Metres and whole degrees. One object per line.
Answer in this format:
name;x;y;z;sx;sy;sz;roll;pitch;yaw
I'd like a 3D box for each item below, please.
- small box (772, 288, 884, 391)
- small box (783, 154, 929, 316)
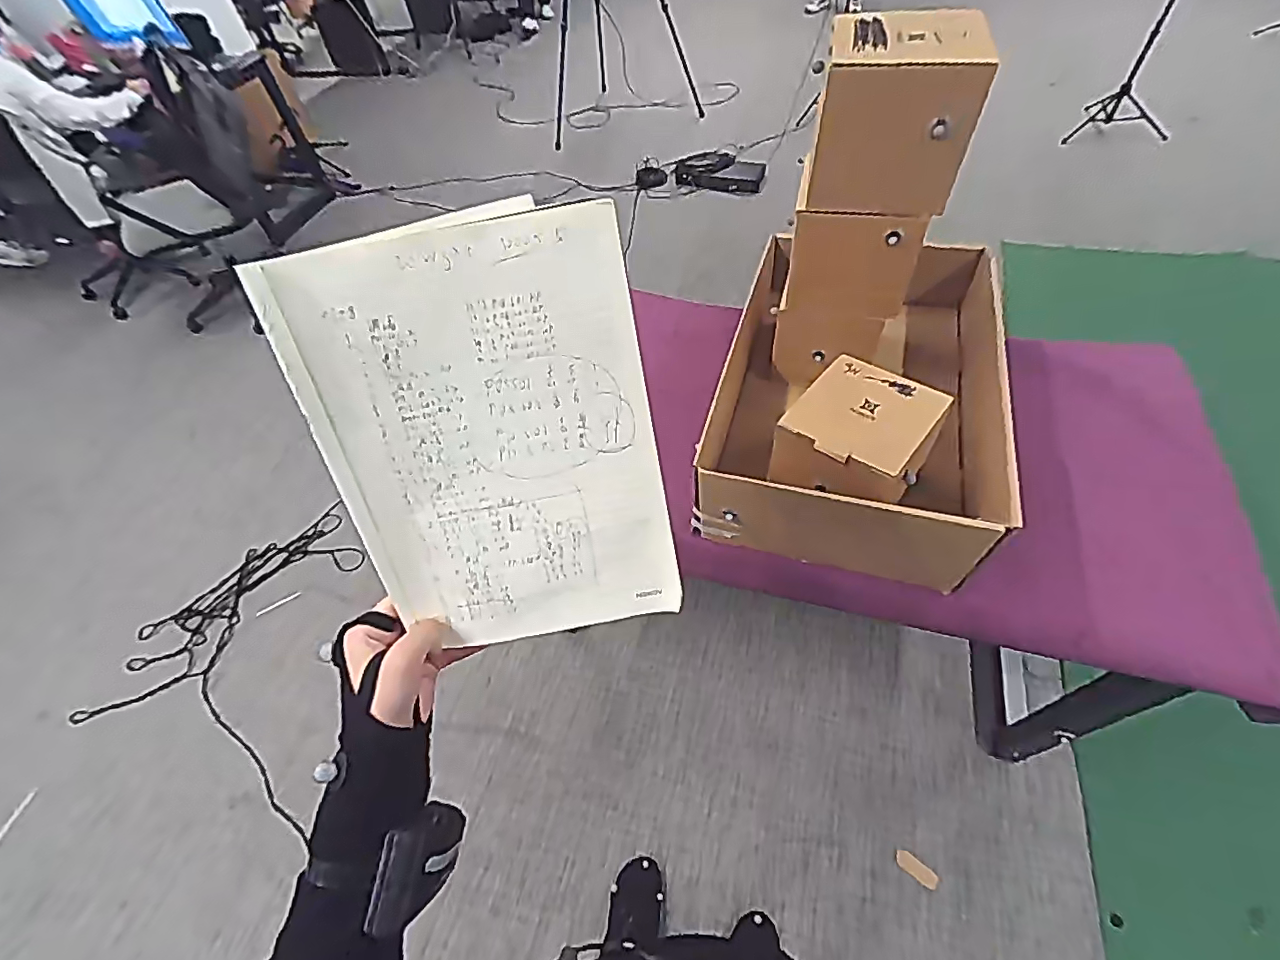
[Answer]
small box;0.335;-0.281;0.961;0.168;0.176;0.179;12;57;15
small box;0.322;-0.371;0.828;0.179;0.176;0.168;10;57;13
